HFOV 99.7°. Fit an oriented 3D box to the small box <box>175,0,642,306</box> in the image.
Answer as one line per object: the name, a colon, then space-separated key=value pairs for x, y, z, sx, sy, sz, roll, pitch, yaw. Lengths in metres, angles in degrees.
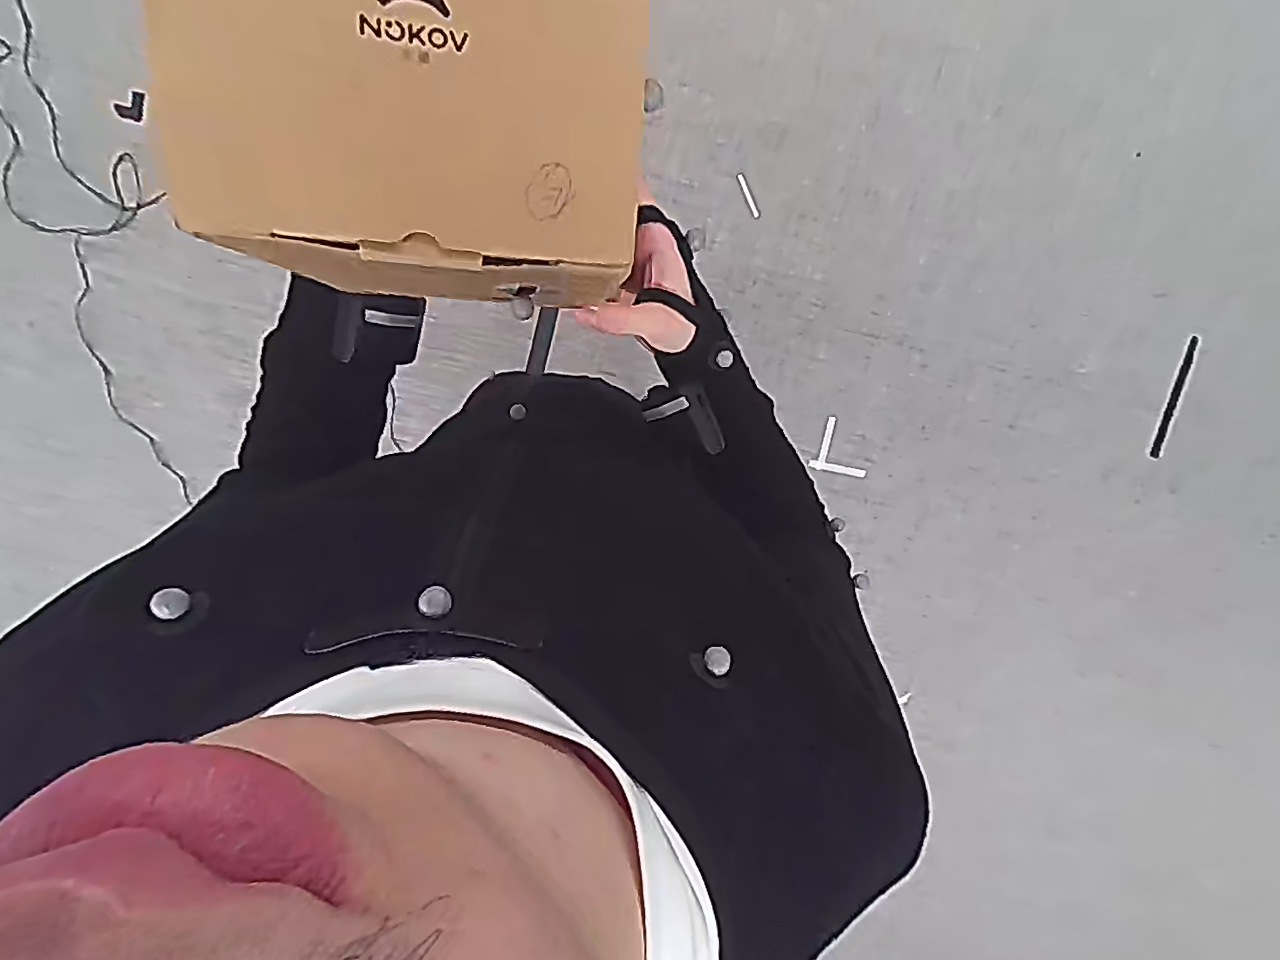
small box: x=-0.094 y=-0.189 z=0.277 sx=0.168 sy=0.176 sz=0.179 roll=0 pitch=101 yaw=-11
